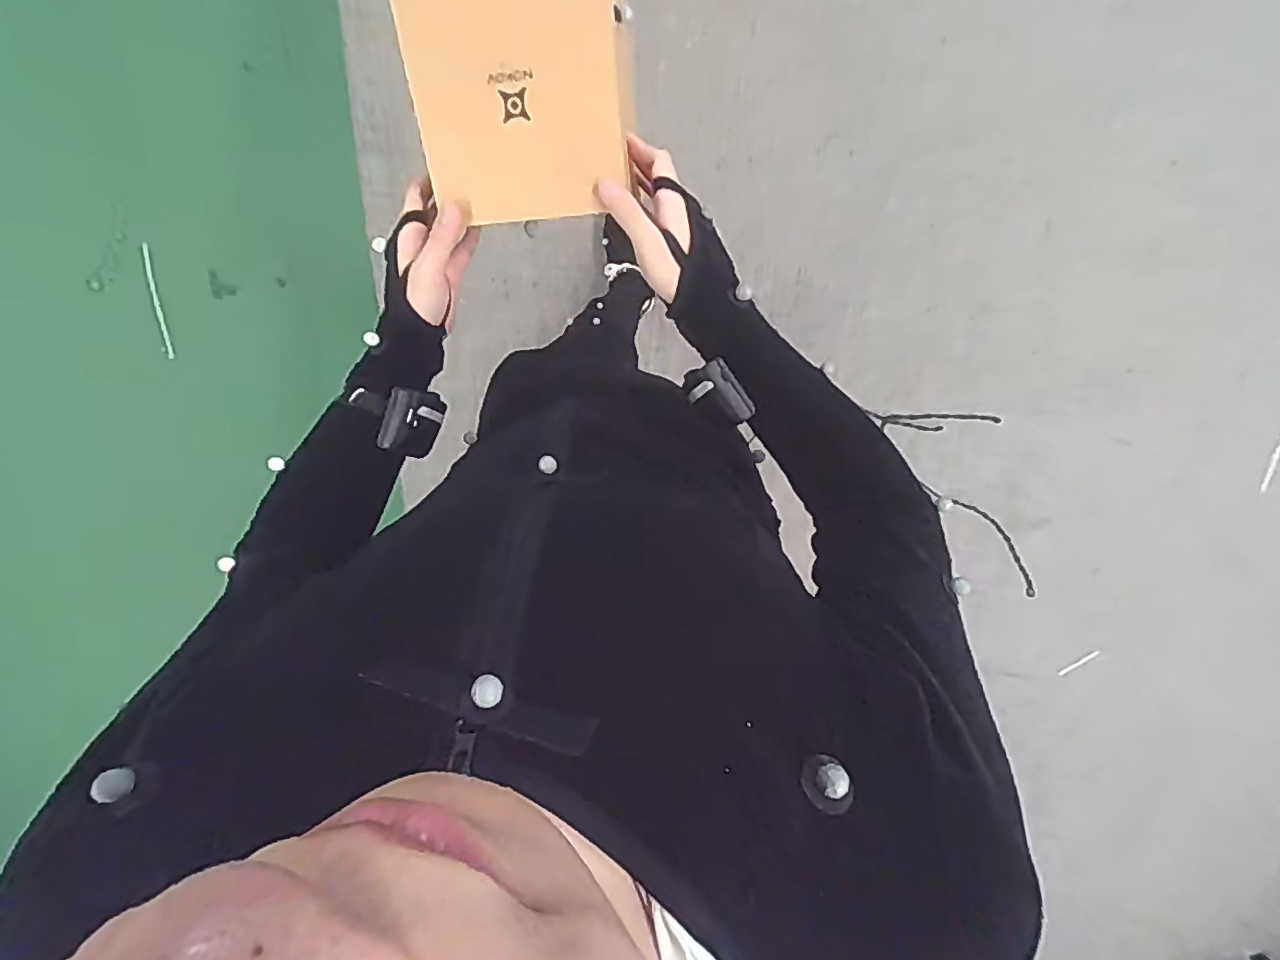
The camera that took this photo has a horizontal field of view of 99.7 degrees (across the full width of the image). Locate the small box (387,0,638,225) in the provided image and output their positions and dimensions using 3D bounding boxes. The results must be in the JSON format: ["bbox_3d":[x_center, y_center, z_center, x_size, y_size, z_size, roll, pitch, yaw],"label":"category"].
[{"bbox_3d":[-0.094,-0.336,0.489,0.168,0.176,0.179,-2,116,6],"label":"small box"}]
